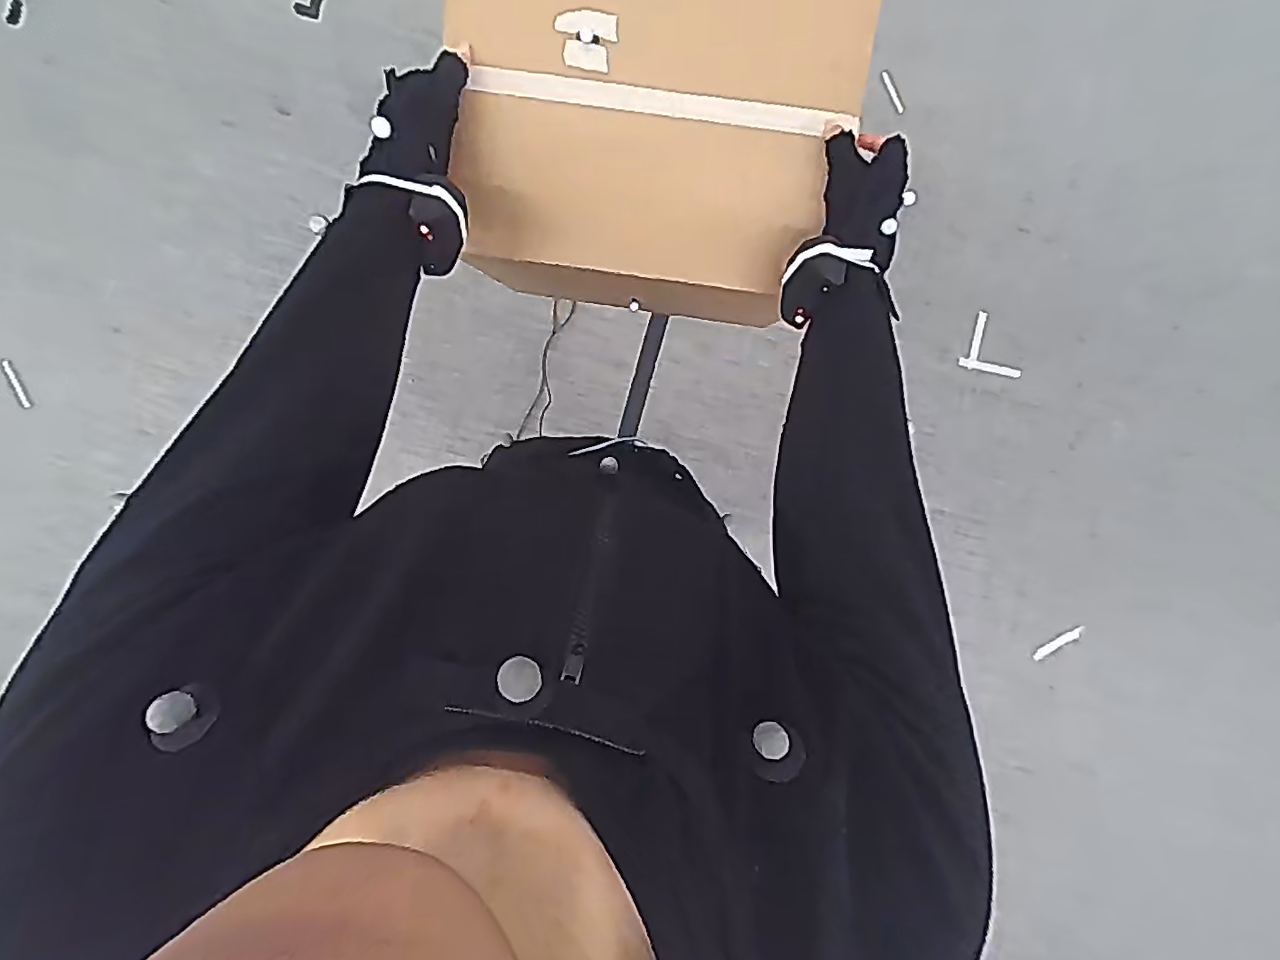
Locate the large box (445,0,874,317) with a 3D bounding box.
[{"bbox_3d":[0.018,-0.395,0.677,0.408,0.320,0.320,8,100,1],"label":"large box"}]
